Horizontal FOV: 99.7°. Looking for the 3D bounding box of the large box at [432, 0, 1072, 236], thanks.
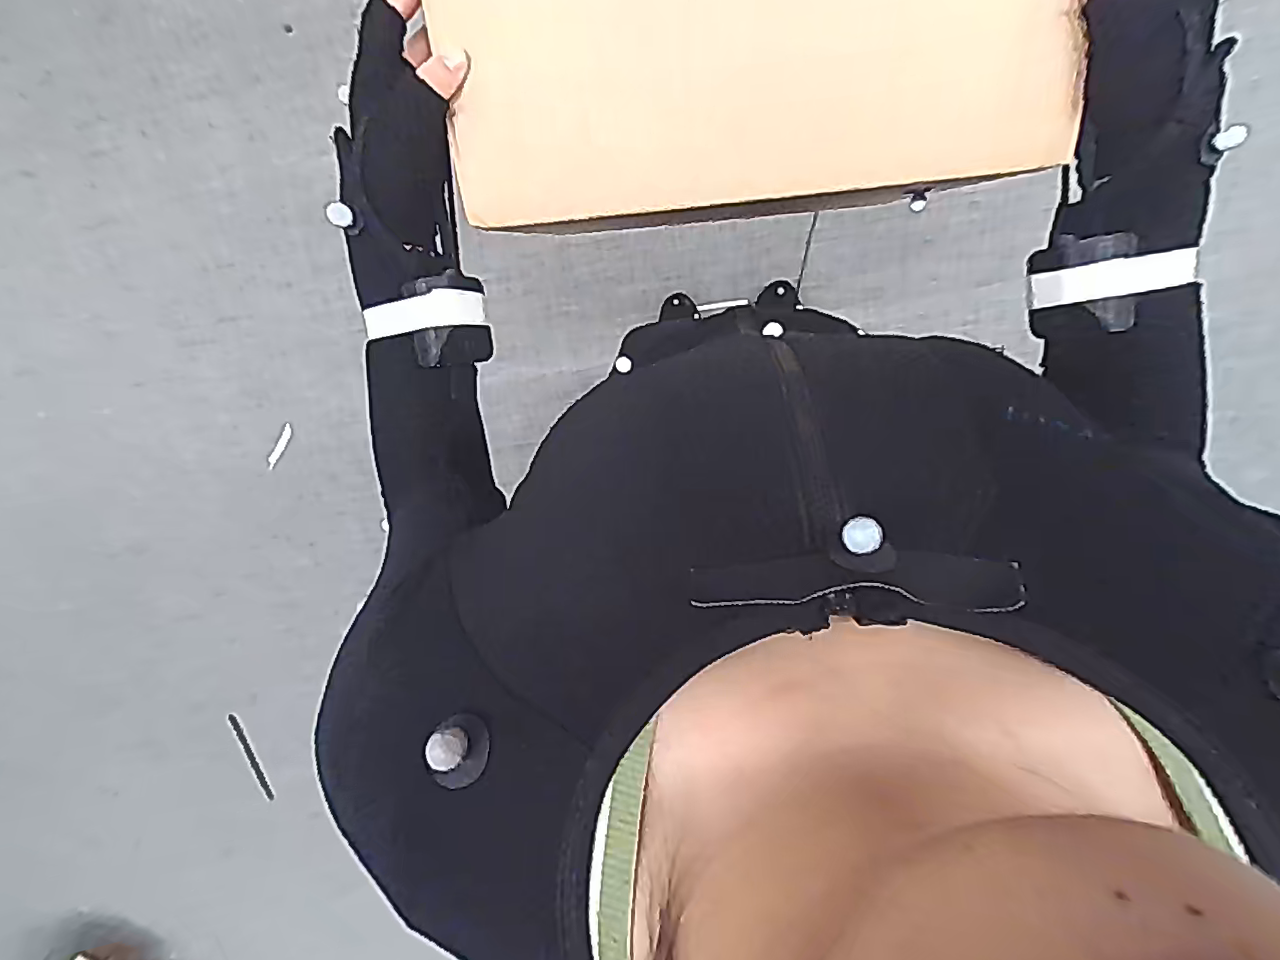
[{"bbox_3d":[0.069,-0.395,0.456,0.408,0.320,0.320,-4,113,4],"label":"large box"}]
